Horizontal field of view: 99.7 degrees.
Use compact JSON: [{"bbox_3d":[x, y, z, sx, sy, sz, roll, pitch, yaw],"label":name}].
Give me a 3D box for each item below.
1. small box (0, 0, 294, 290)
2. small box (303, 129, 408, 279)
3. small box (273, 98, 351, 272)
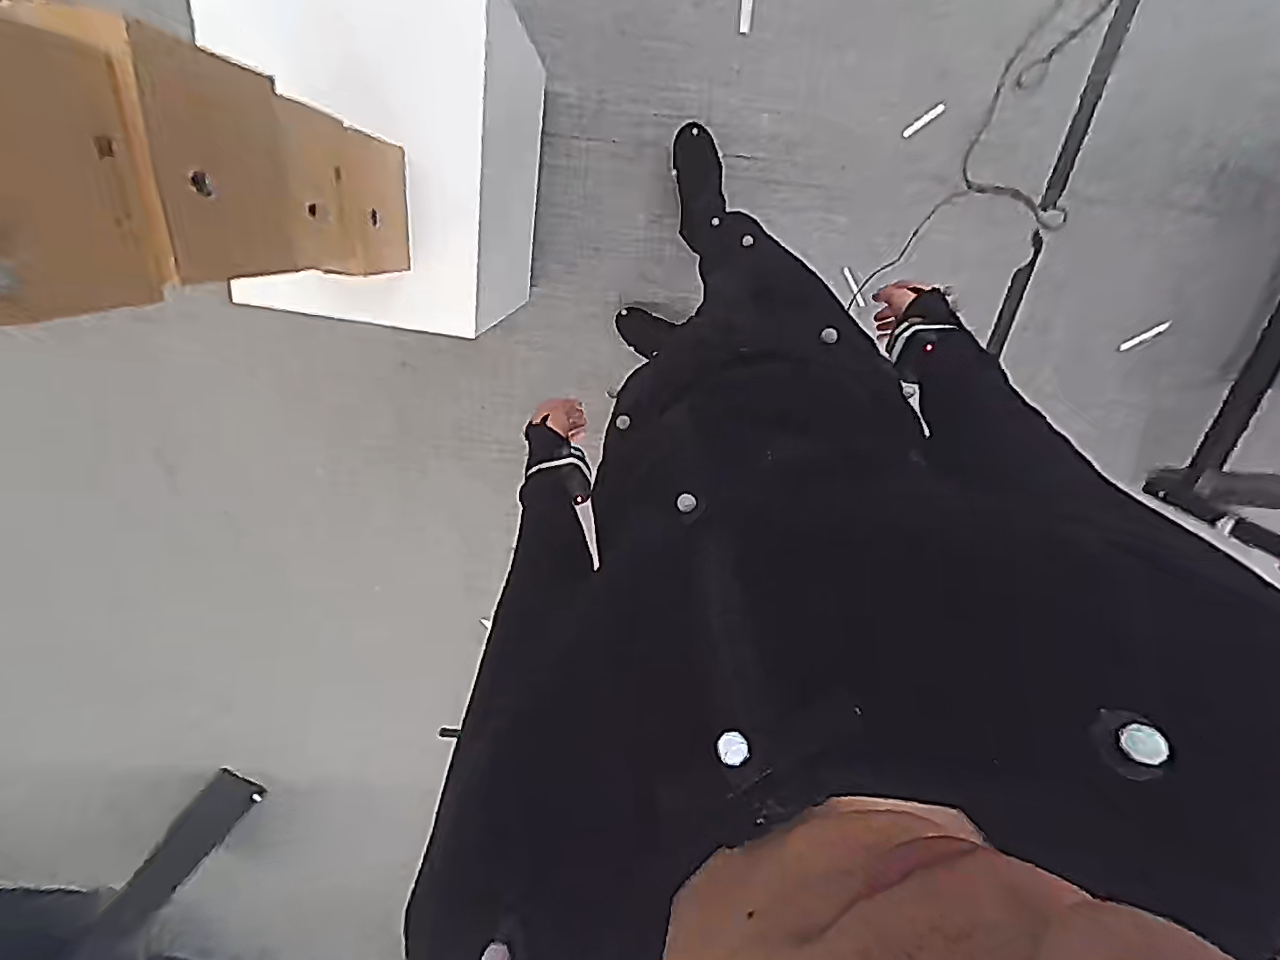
[{"bbox_3d":[-0.427,-0.270,0.461,0.168,0.176,0.179,6,113,-4],"label":"small box"},{"bbox_3d":[-0.441,-0.389,0.764,0.168,0.176,0.179,5,113,-4],"label":"small box"},{"bbox_3d":[-0.449,-0.337,0.610,0.179,0.176,0.168,6,113,-3],"label":"small box"}]
